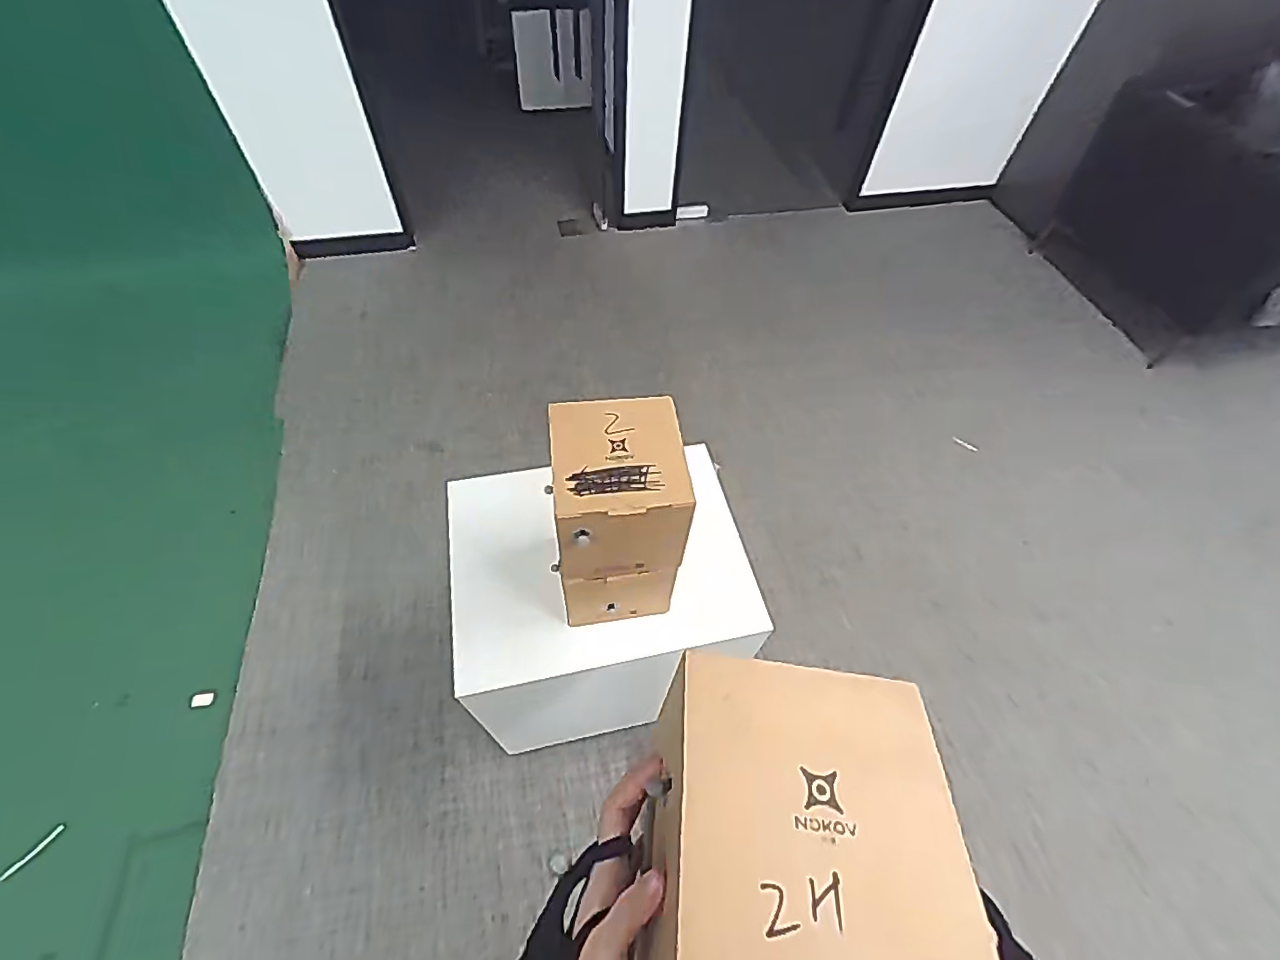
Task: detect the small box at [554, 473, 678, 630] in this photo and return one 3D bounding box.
[{"bbox_3d":[-0.044,0.114,0.852,0.168,0.176,0.179,-7,54,-8],"label":"small box"}]

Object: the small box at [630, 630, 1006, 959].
[{"bbox_3d":[0.089,0.230,0.359,0.168,0.176,0.179,9,43,-1],"label":"small box"}]
